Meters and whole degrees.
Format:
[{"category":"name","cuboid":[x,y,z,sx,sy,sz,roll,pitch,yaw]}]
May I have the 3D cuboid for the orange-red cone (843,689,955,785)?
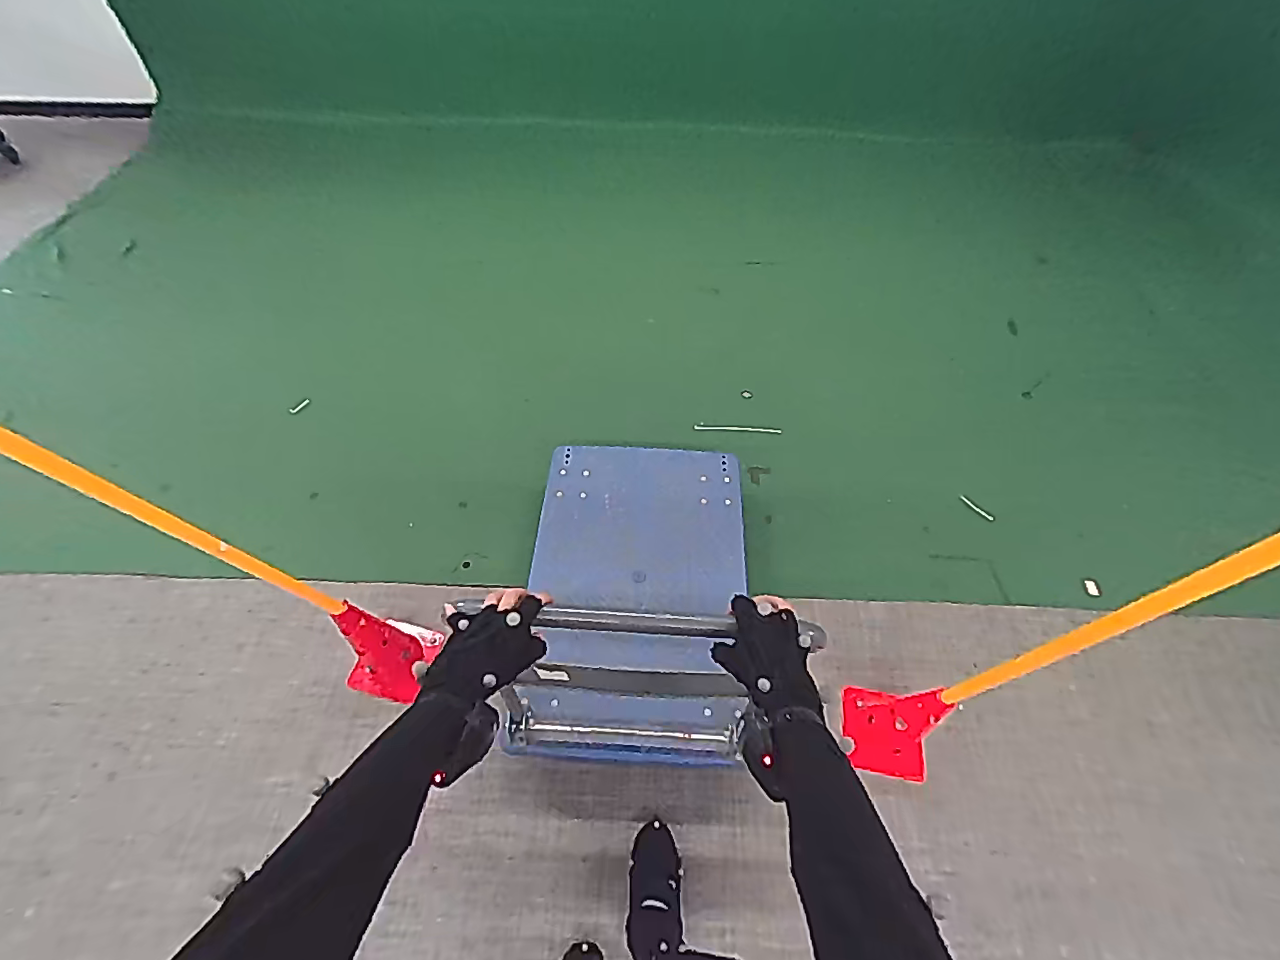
[{"category":"orange-red cone","cuboid":[0.618,0.547,1.232,0.198,0.360,0.199,11,55,8]}]
